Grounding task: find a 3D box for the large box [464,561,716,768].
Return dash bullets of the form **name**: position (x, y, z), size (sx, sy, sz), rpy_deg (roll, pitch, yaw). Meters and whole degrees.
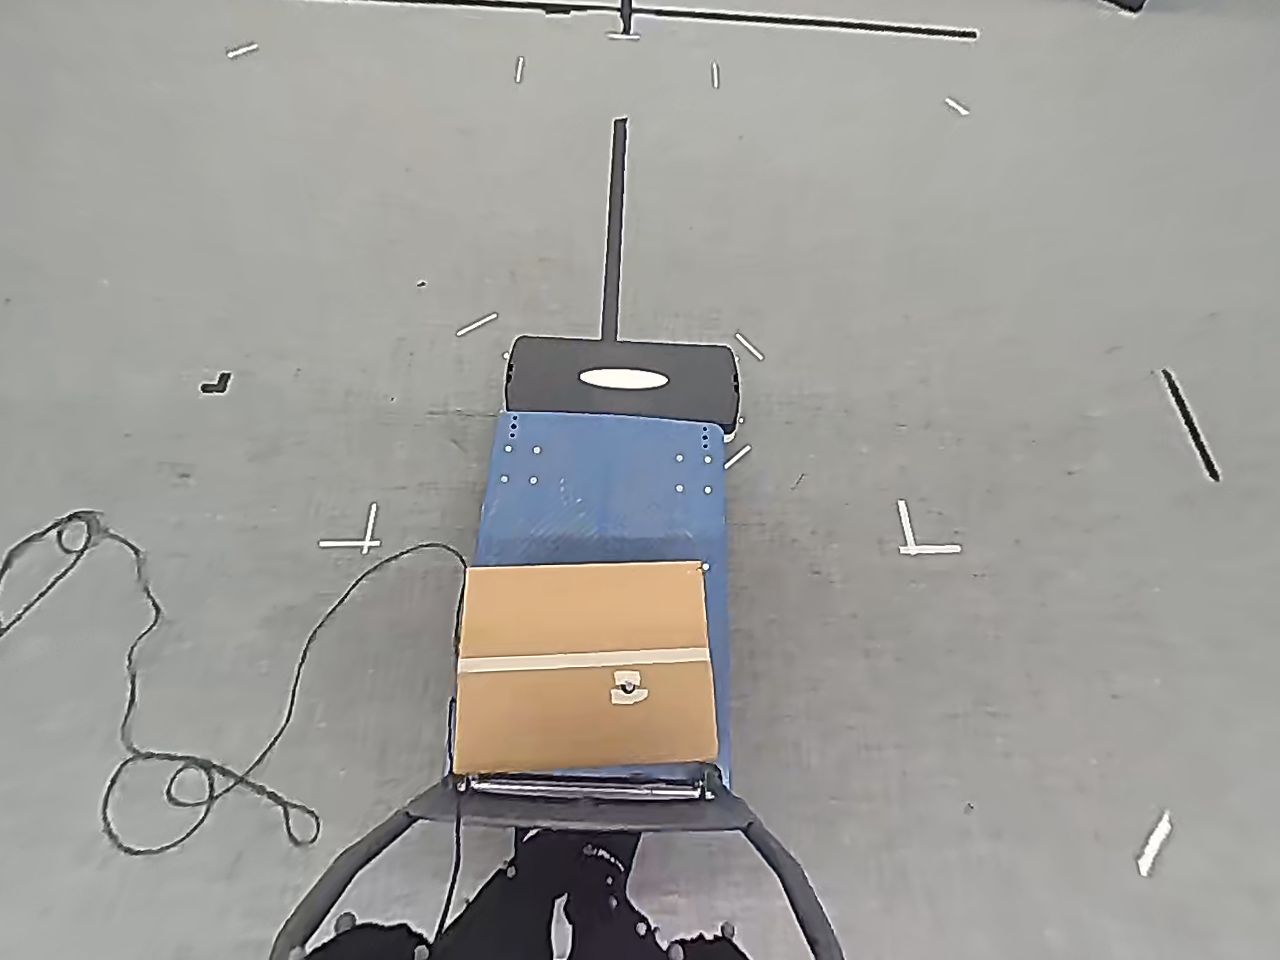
- **large box**: position (-0.095, 0.346, 1.034), size (0.408, 0.320, 0.320), rpy_deg (-1, 69, -5)
